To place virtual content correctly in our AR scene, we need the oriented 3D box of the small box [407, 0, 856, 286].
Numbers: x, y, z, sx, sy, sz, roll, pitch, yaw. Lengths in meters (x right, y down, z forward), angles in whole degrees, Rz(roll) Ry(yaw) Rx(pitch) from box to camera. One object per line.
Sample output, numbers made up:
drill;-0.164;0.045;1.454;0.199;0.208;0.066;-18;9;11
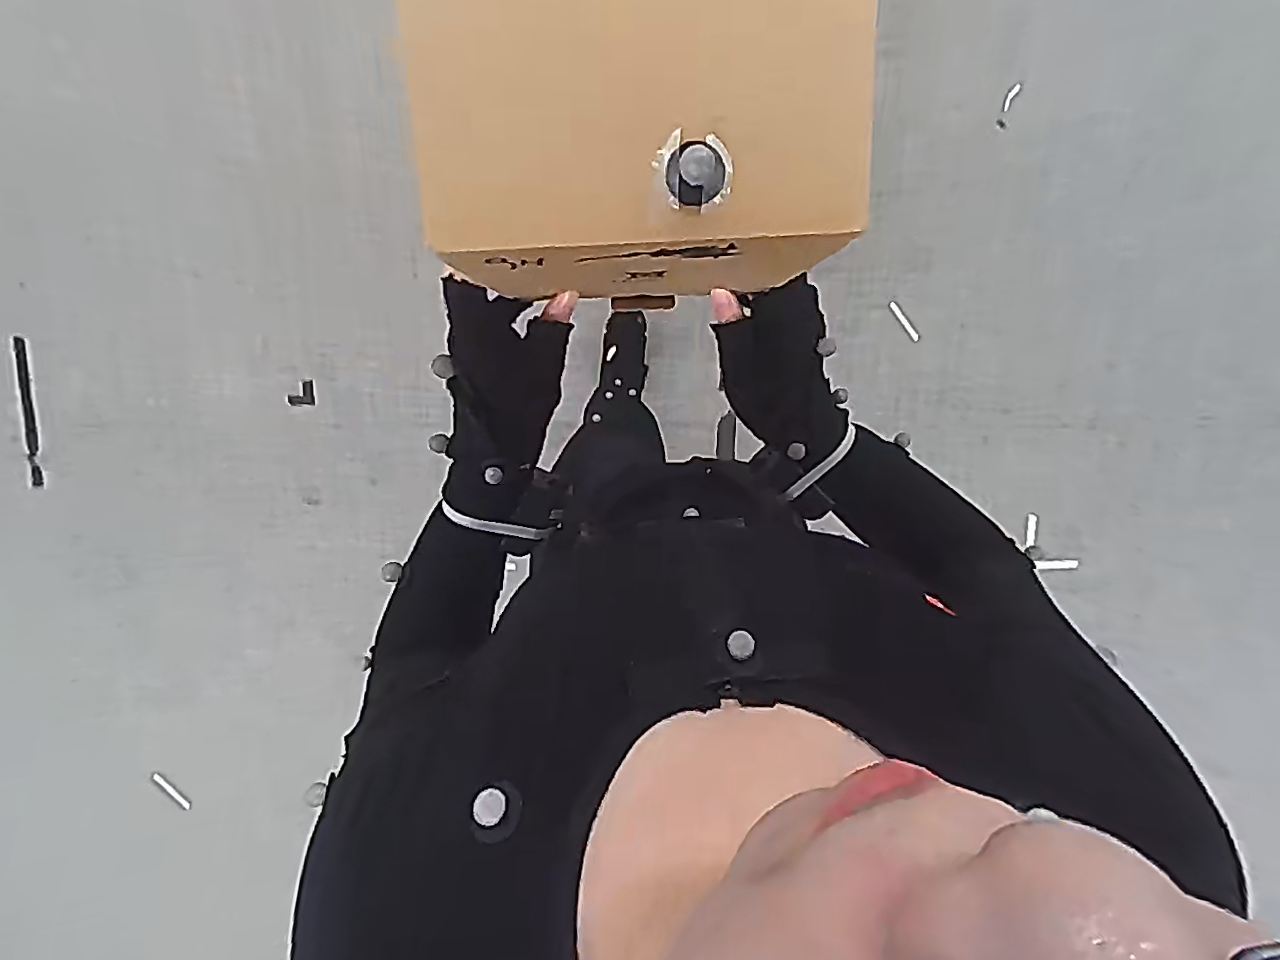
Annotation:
small box;-0.002;-0.196;0.266;0.168;0.179;0.176;-3;103;0
